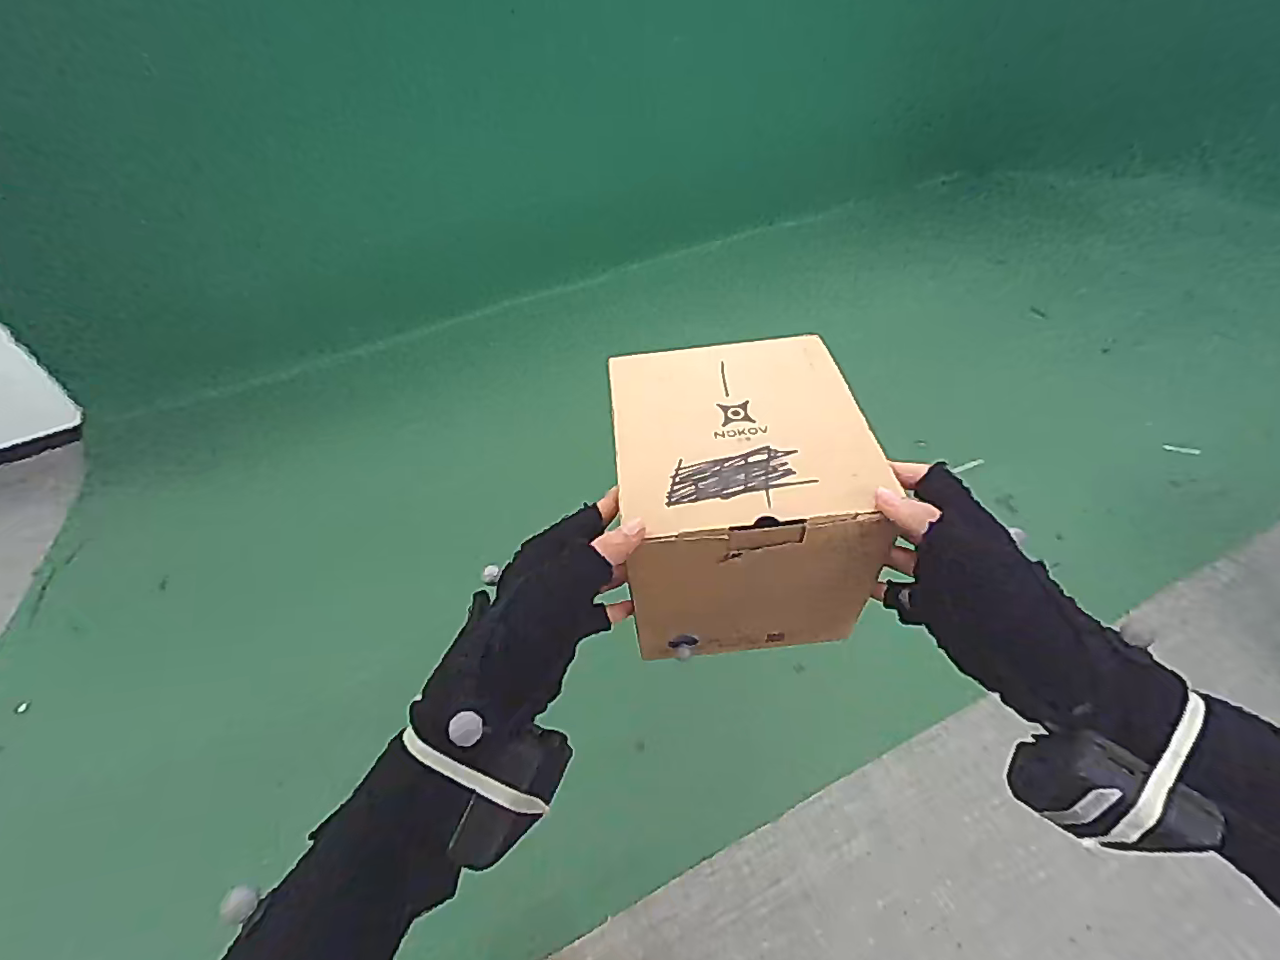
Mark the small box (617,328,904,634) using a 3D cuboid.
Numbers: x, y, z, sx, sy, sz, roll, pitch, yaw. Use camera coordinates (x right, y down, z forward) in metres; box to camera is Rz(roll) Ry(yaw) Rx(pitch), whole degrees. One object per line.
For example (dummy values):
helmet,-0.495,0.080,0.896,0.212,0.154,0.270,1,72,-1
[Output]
small box,0.074,0.007,0.425,0.168,0.176,0.179,-6,48,0
